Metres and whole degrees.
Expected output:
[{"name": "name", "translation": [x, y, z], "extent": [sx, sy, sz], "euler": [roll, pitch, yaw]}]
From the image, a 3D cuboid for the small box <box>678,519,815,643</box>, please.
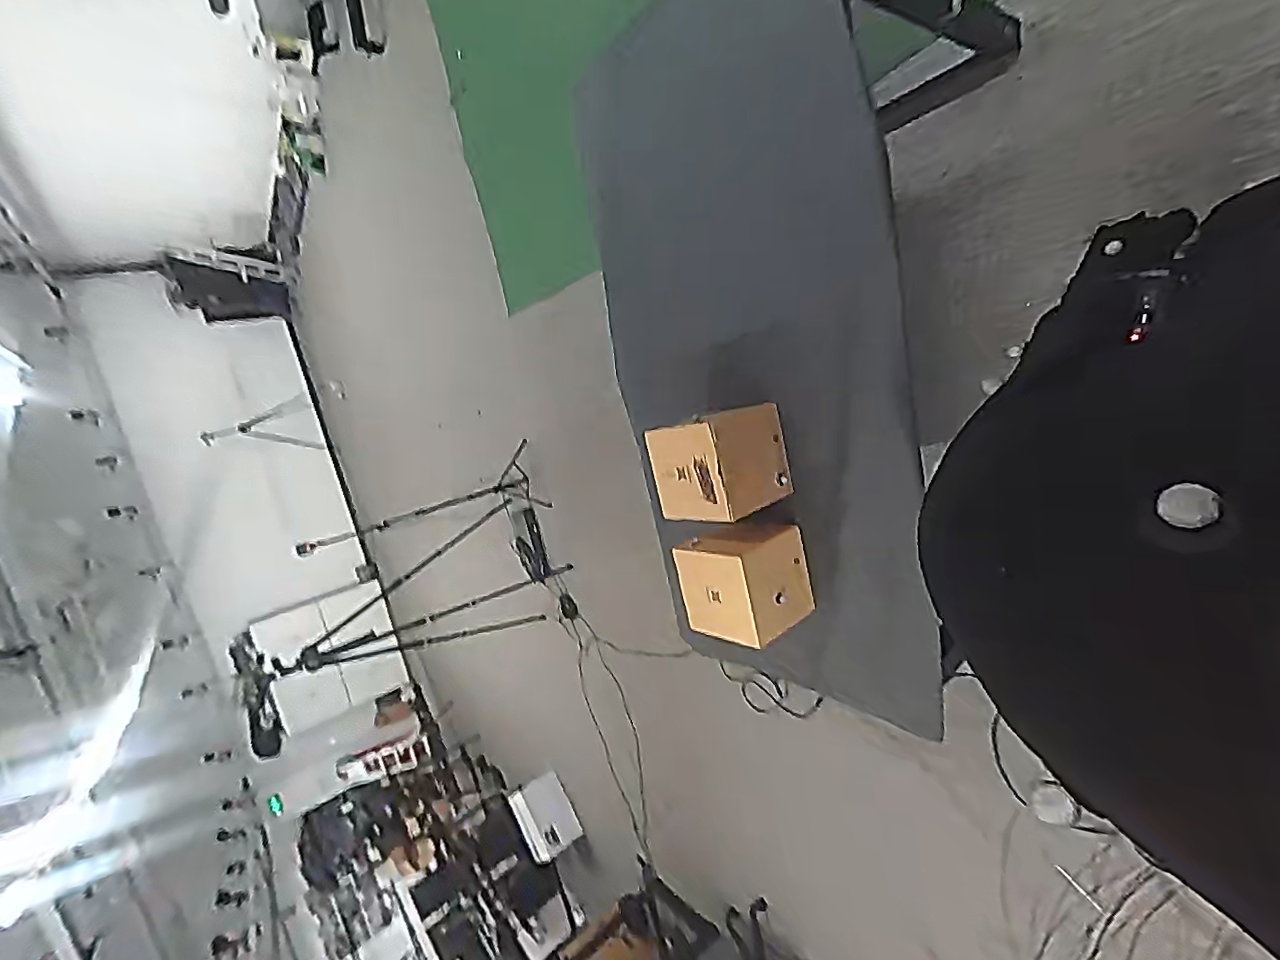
[{"name": "small box", "translation": [0.204, 0.176, 1.006], "extent": [0.179, 0.176, 0.168], "euler": [-3, 104, 54]}]
